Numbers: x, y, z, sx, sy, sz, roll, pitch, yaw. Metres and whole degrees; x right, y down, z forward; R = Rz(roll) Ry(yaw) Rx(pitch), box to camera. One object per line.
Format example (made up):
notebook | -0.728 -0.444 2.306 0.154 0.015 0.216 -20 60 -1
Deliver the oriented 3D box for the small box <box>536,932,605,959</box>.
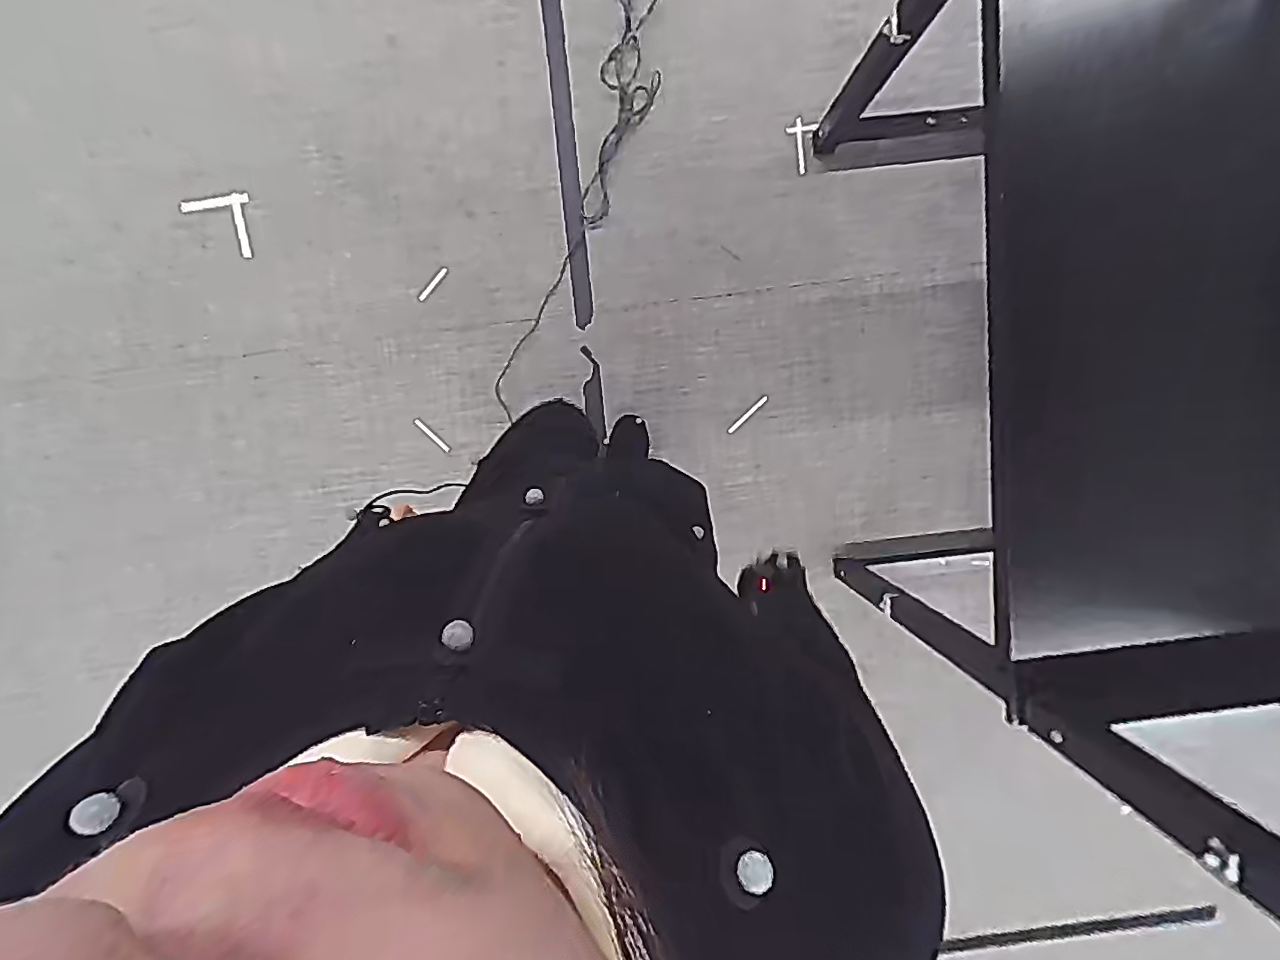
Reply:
small box | -0.183 1.313 1.390 0.179 0.176 0.168 -2 97 -1

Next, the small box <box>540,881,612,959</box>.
small box | -0.179 1.295 1.553 0.179 0.176 0.168 -5 97 1
